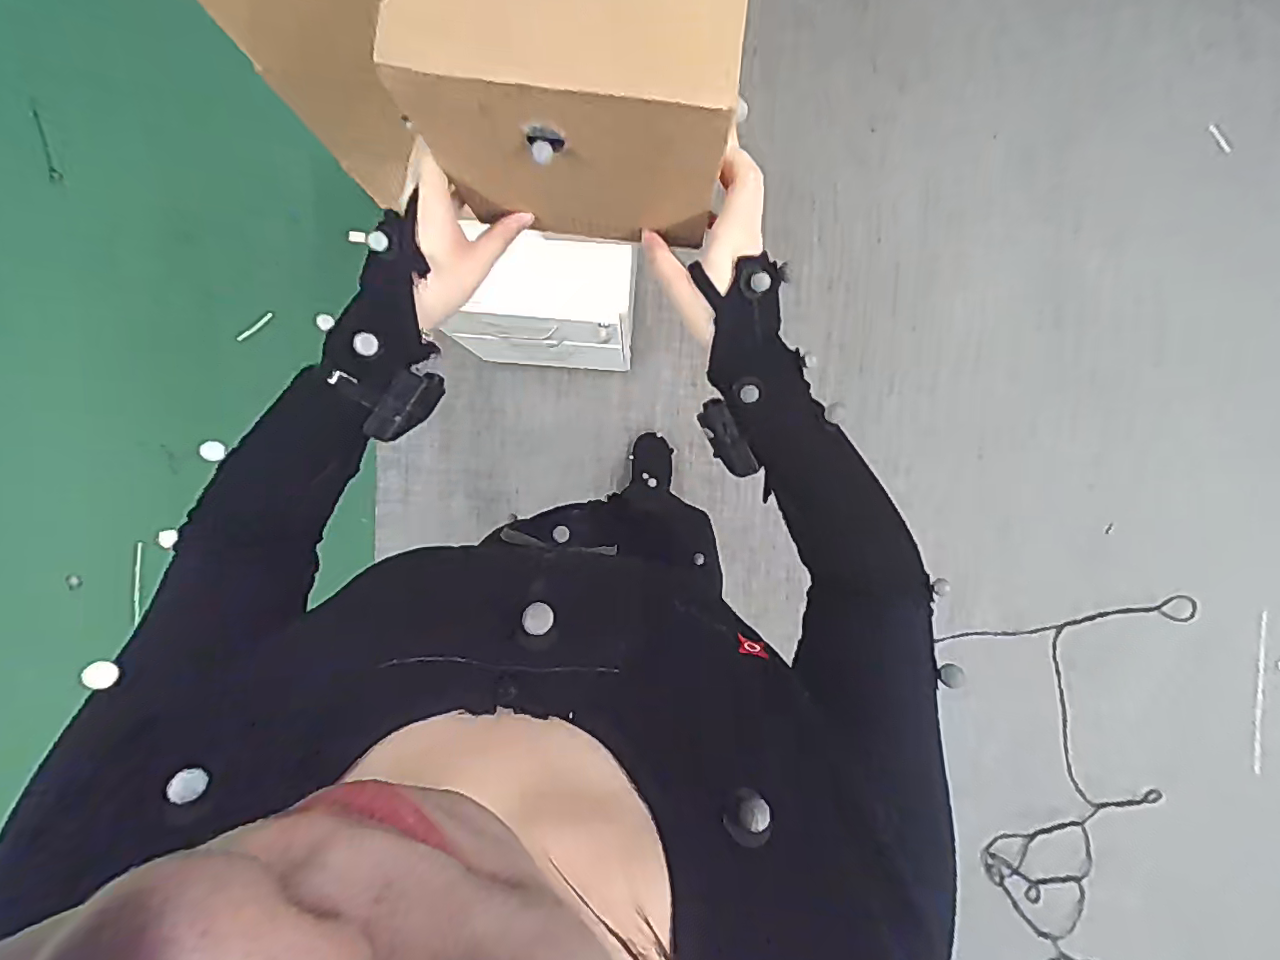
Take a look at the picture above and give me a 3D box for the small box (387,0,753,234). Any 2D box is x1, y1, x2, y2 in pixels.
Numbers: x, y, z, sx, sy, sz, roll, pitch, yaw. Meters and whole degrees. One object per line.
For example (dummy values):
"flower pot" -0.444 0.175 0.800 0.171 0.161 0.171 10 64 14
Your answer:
"small box" -0.026 -0.275 0.338 0.179 0.176 0.168 7 92 0

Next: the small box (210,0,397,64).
"small box" -0.309 -0.510 0.478 0.179 0.176 0.168 -1 91 -3

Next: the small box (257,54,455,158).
"small box" -0.315 -0.510 0.641 0.179 0.176 0.168 -2 91 -2
